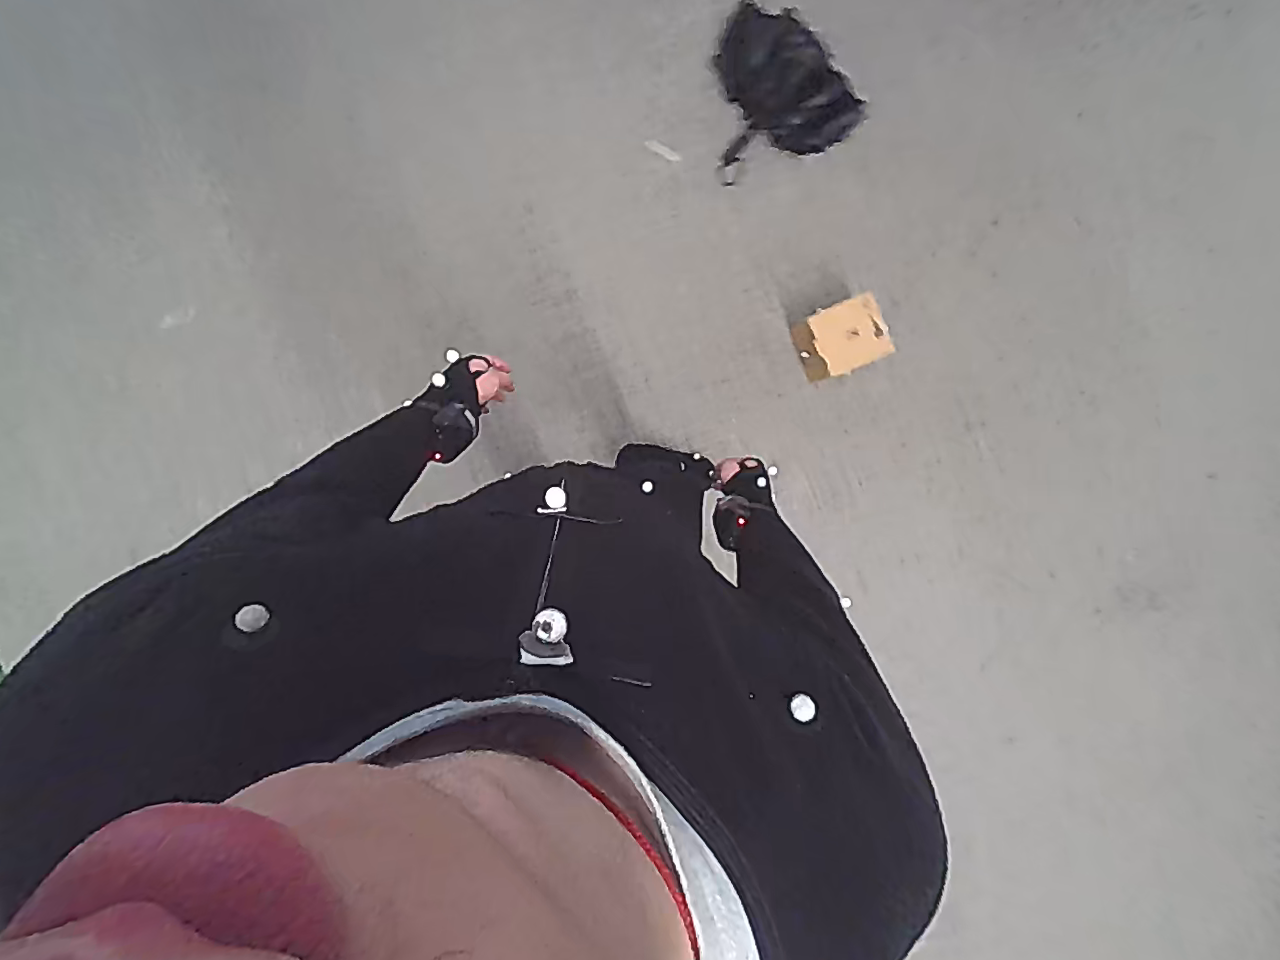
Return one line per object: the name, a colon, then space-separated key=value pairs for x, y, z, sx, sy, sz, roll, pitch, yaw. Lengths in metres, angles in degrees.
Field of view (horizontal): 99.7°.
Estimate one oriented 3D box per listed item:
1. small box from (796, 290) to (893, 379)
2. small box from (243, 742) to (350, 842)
small box: x=0.528 y=-0.376 z=1.432 sx=0.179 sy=0.176 sz=0.168 roll=-22 pitch=96 yaw=3
small box: x=-0.977 y=0.888 z=1.551 sx=0.179 sy=0.176 sz=0.168 roll=-13 pitch=96 yaw=0
